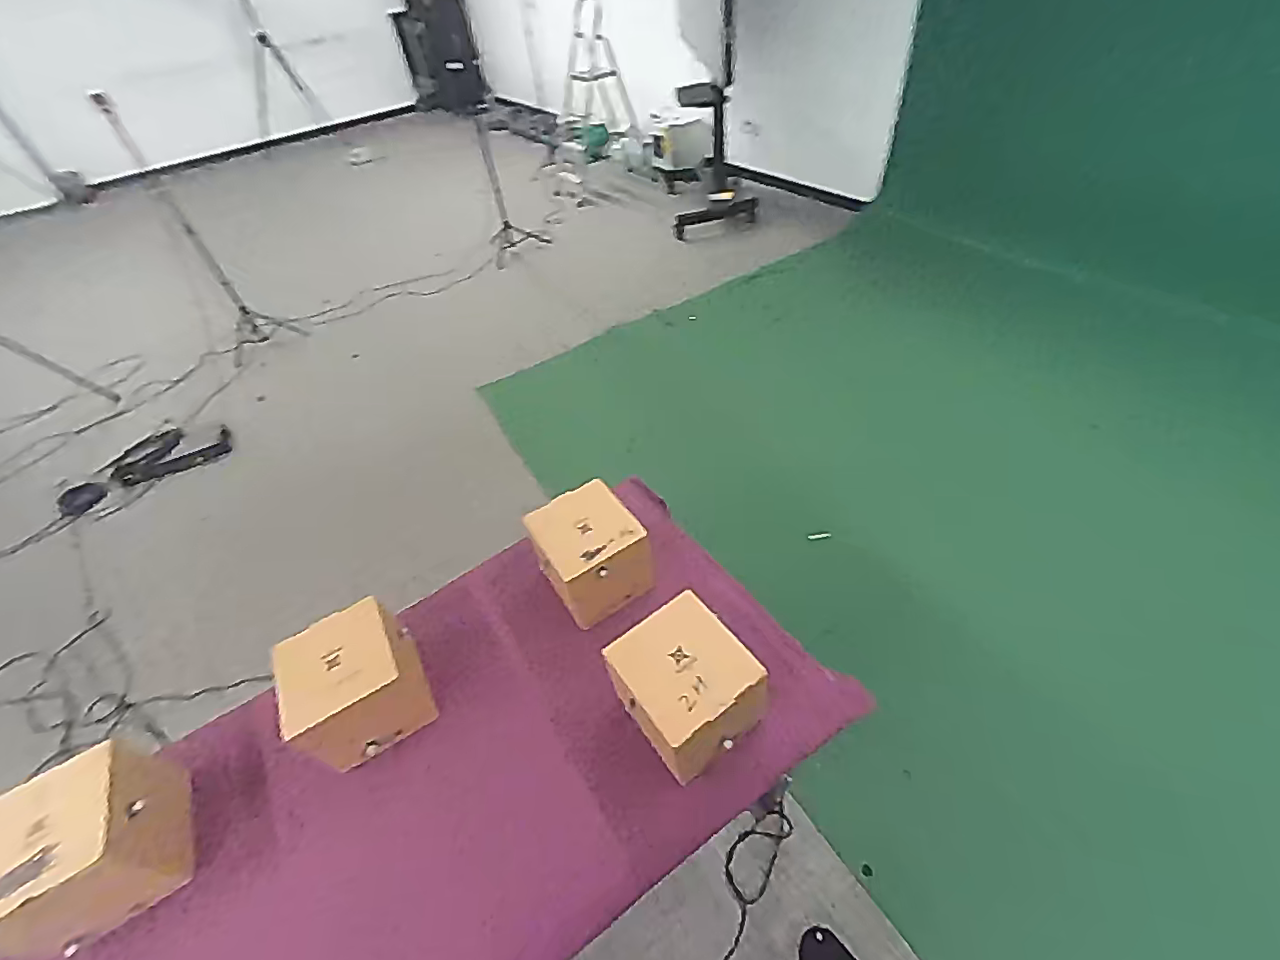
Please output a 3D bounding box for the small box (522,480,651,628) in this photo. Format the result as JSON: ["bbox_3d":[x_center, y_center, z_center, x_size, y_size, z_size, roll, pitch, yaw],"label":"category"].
[{"bbox_3d":[-0.096,0.138,1.007,0.168,0.176,0.179,-29,50,-18],"label":"small box"}]

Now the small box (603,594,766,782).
[{"bbox_3d":[0.066,0.315,0.818,0.168,0.176,0.179,-31,51,-19],"label":"small box"}]

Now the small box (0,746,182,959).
[{"bbox_3d":[-0.768,0.508,0.736,0.168,0.176,0.179,-28,51,-19],"label":"small box"}]

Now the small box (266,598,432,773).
[{"bbox_3d":[-0.463,0.331,0.871,0.168,0.176,0.179,-28,51,-17],"label":"small box"}]
